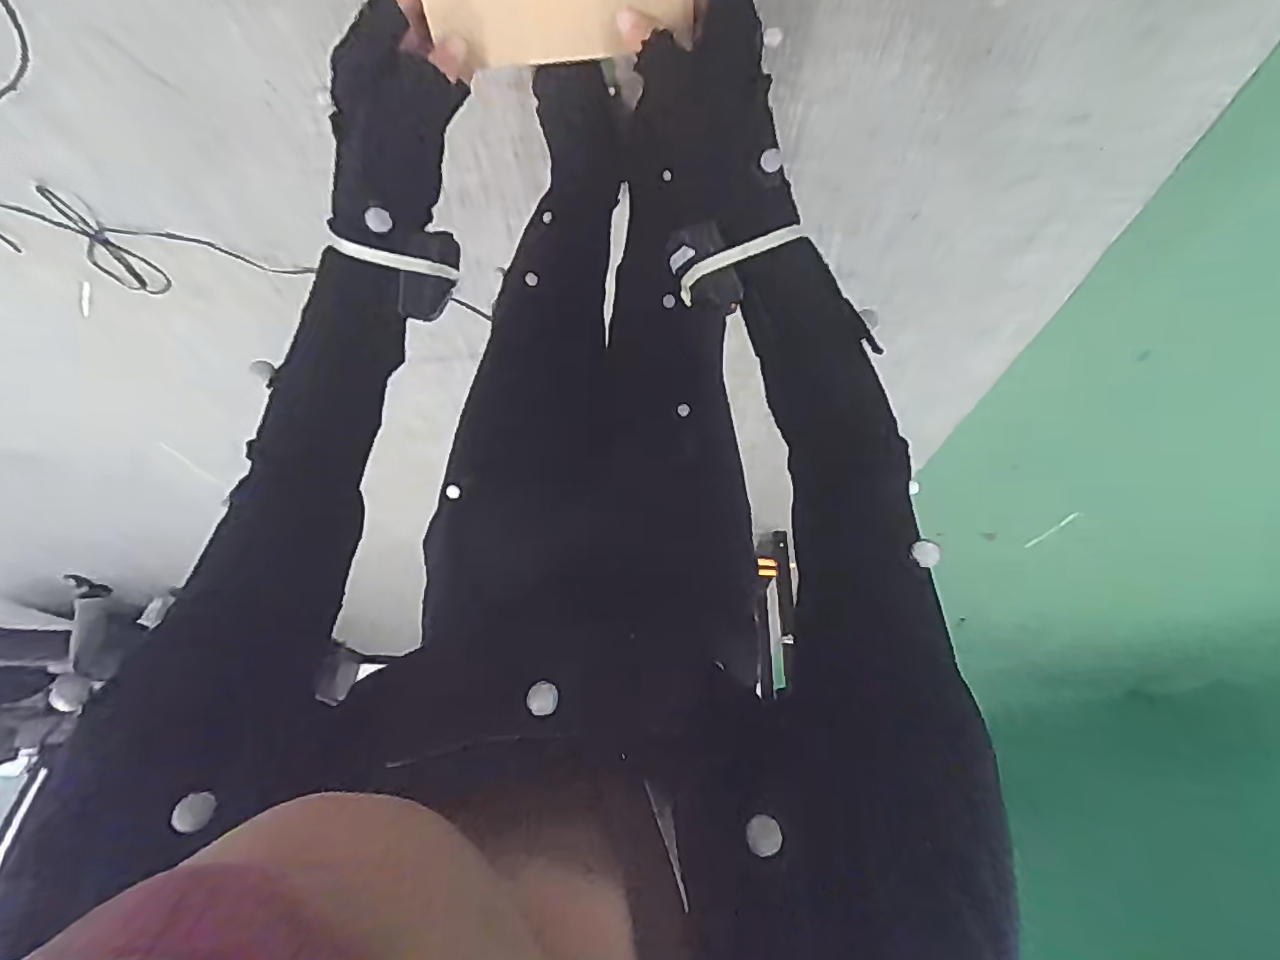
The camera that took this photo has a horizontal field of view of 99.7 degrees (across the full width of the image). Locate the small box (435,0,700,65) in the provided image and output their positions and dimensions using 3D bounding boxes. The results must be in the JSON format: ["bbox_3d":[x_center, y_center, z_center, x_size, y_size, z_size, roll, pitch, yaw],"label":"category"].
[{"bbox_3d":[-0.050,-0.393,0.336,0.168,0.176,0.179,-5,140,1],"label":"small box"}]
